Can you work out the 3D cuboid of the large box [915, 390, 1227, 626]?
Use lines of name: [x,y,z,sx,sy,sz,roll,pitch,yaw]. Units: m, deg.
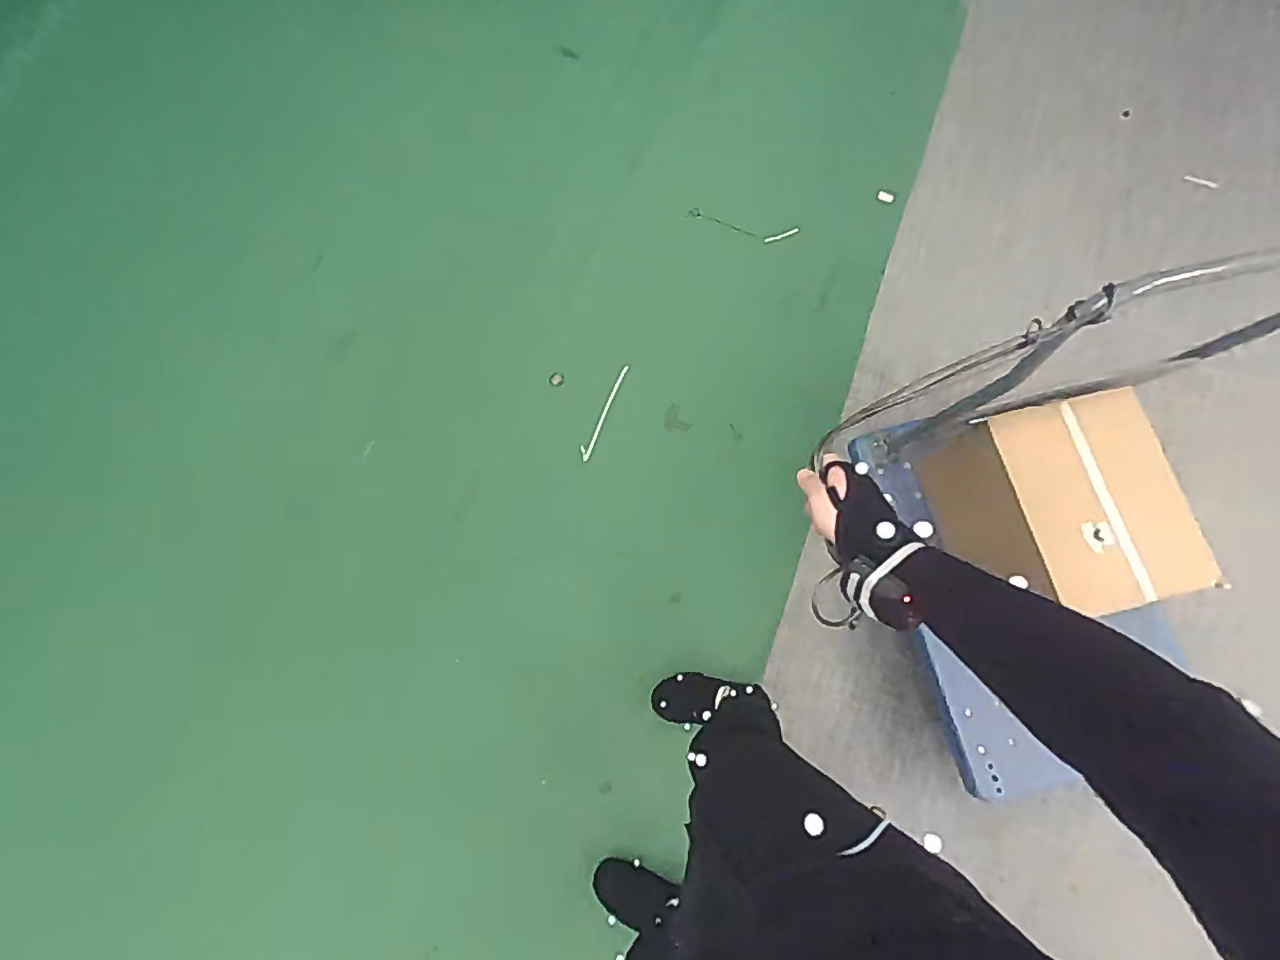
large box: [0.874,0.074,1.164,0.320,0.320,0.408,-14,77,-3]
